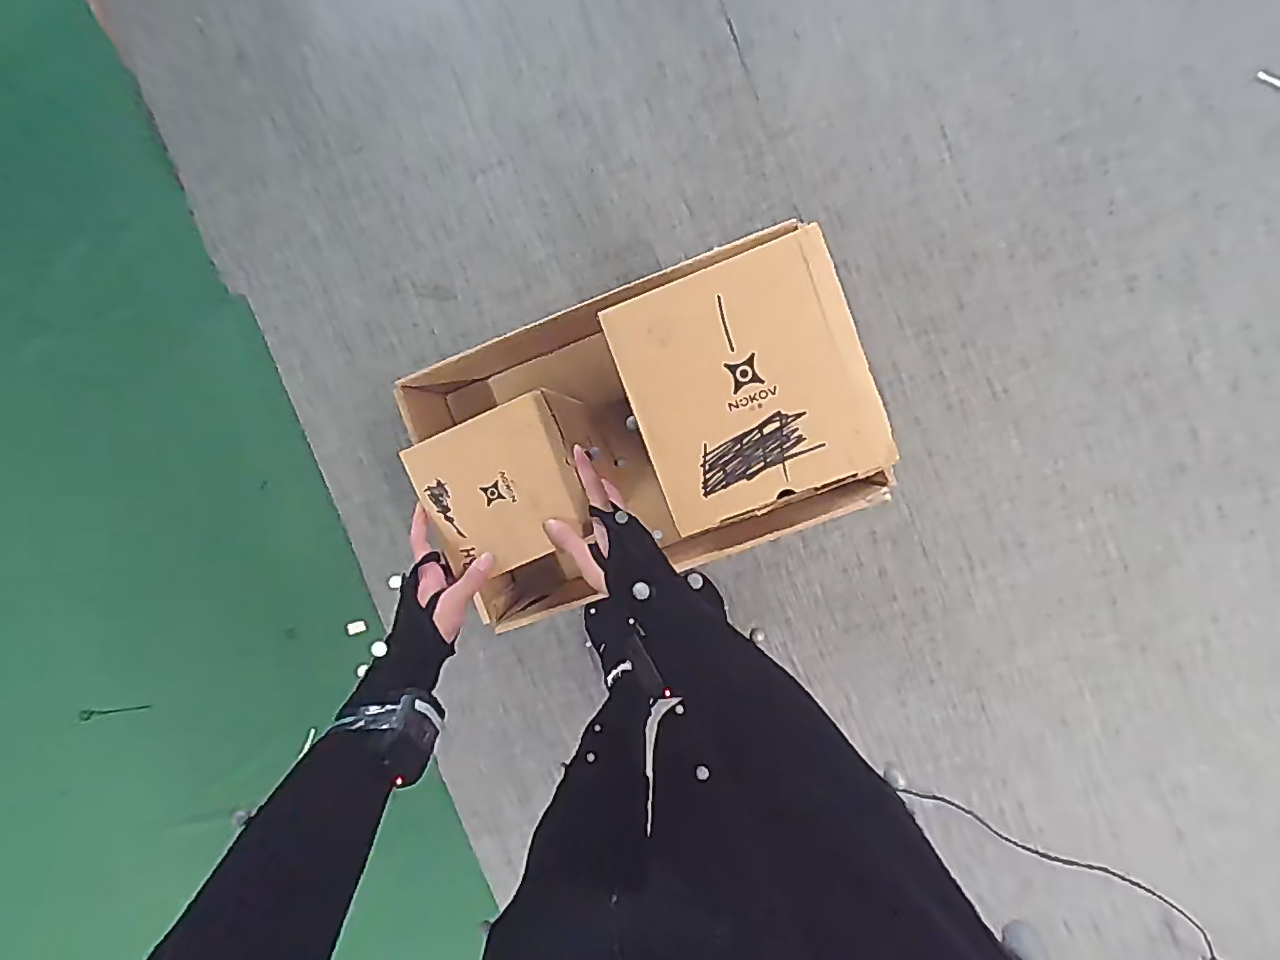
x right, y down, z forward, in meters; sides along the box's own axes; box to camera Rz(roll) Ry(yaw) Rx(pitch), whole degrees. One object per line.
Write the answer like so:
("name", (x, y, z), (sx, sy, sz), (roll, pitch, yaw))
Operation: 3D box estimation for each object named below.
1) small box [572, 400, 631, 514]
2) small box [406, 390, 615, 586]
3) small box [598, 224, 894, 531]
("small box", (-0.125, -0.008, 0.820), (0.179, 0.176, 0.168), (-21, 92, 5))
("small box", (-0.139, 0.004, 0.657), (0.179, 0.176, 0.168), (-23, 92, 6))
("small box", (0.083, -0.075, 0.461), (0.168, 0.176, 0.179), (-20, 91, 7))
